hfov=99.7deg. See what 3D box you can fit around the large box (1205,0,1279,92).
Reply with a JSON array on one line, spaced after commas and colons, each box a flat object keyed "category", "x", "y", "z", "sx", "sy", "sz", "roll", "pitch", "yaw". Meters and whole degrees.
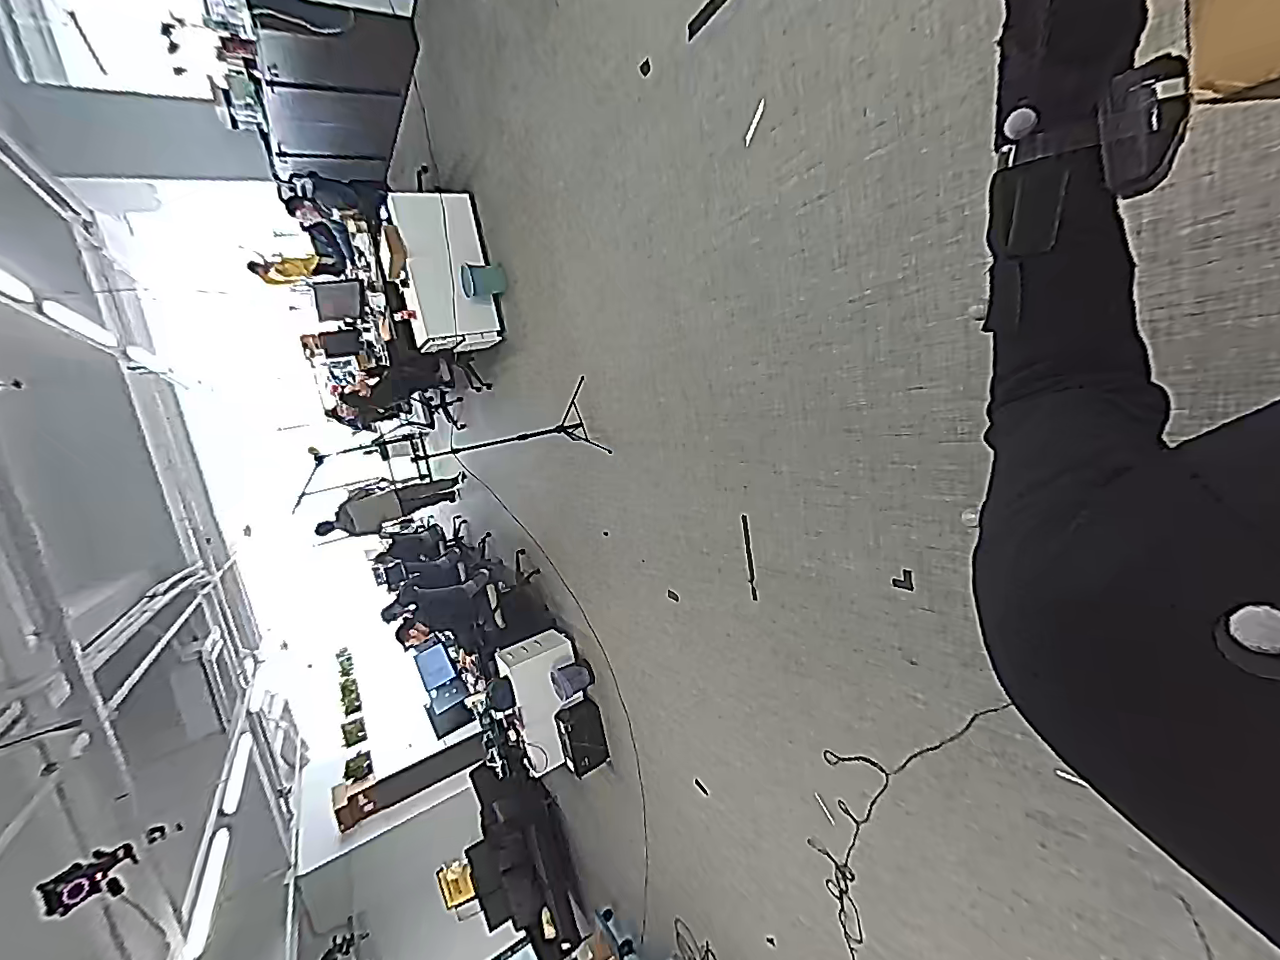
[{"category": "large box", "x": 0.482, "y": -0.390, "z": 0.161, "sx": 0.408, "sy": 0.320, "sz": 0.320, "roll": 5, "pitch": 116, "yaw": 57}]
